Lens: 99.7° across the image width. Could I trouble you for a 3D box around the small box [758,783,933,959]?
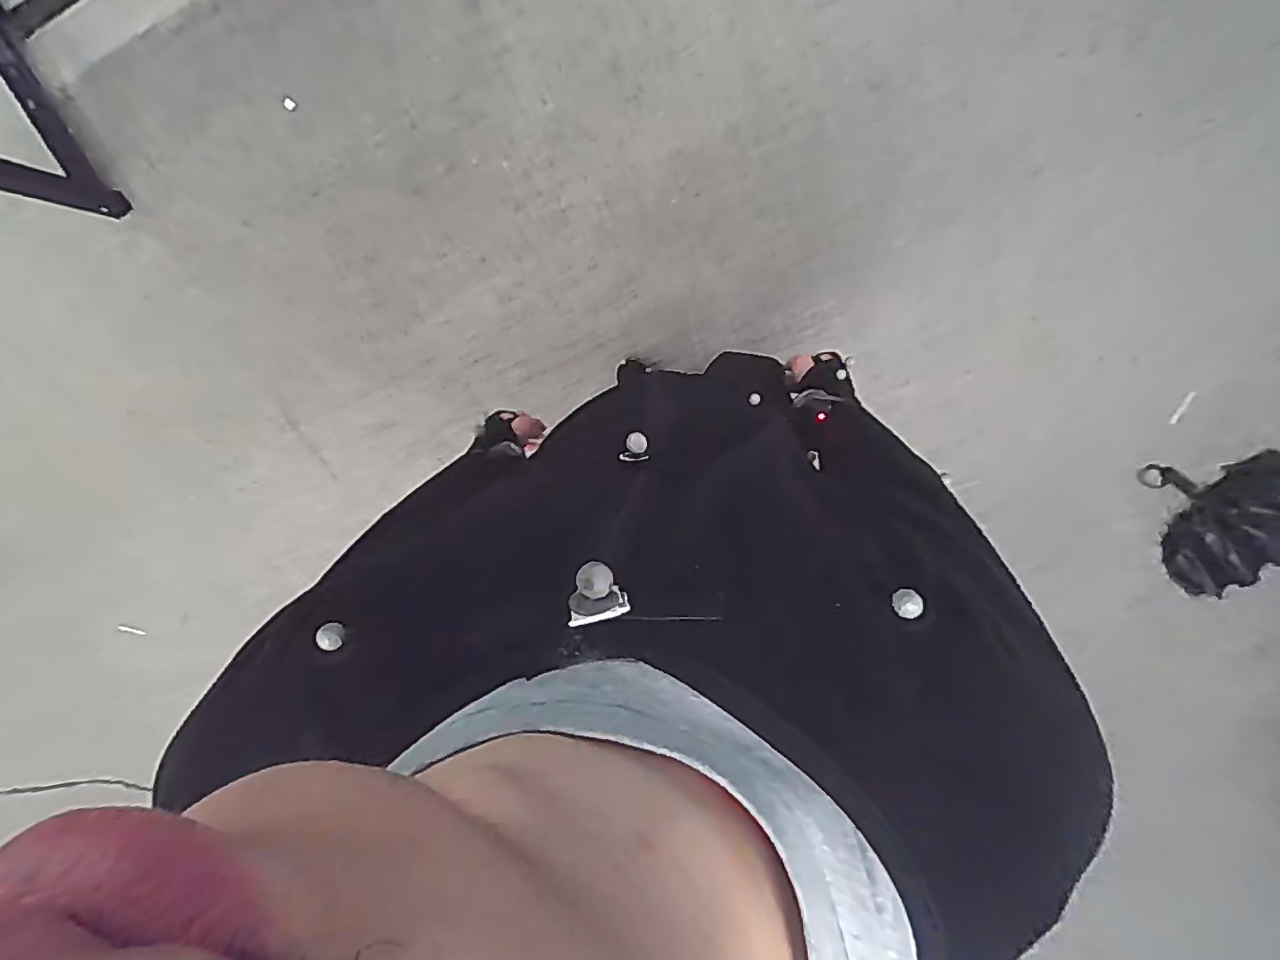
[{"bbox_3d":[0.299,0.610,0.820,0.168,0.176,0.179,-30,99,9],"label":"small box"}]
